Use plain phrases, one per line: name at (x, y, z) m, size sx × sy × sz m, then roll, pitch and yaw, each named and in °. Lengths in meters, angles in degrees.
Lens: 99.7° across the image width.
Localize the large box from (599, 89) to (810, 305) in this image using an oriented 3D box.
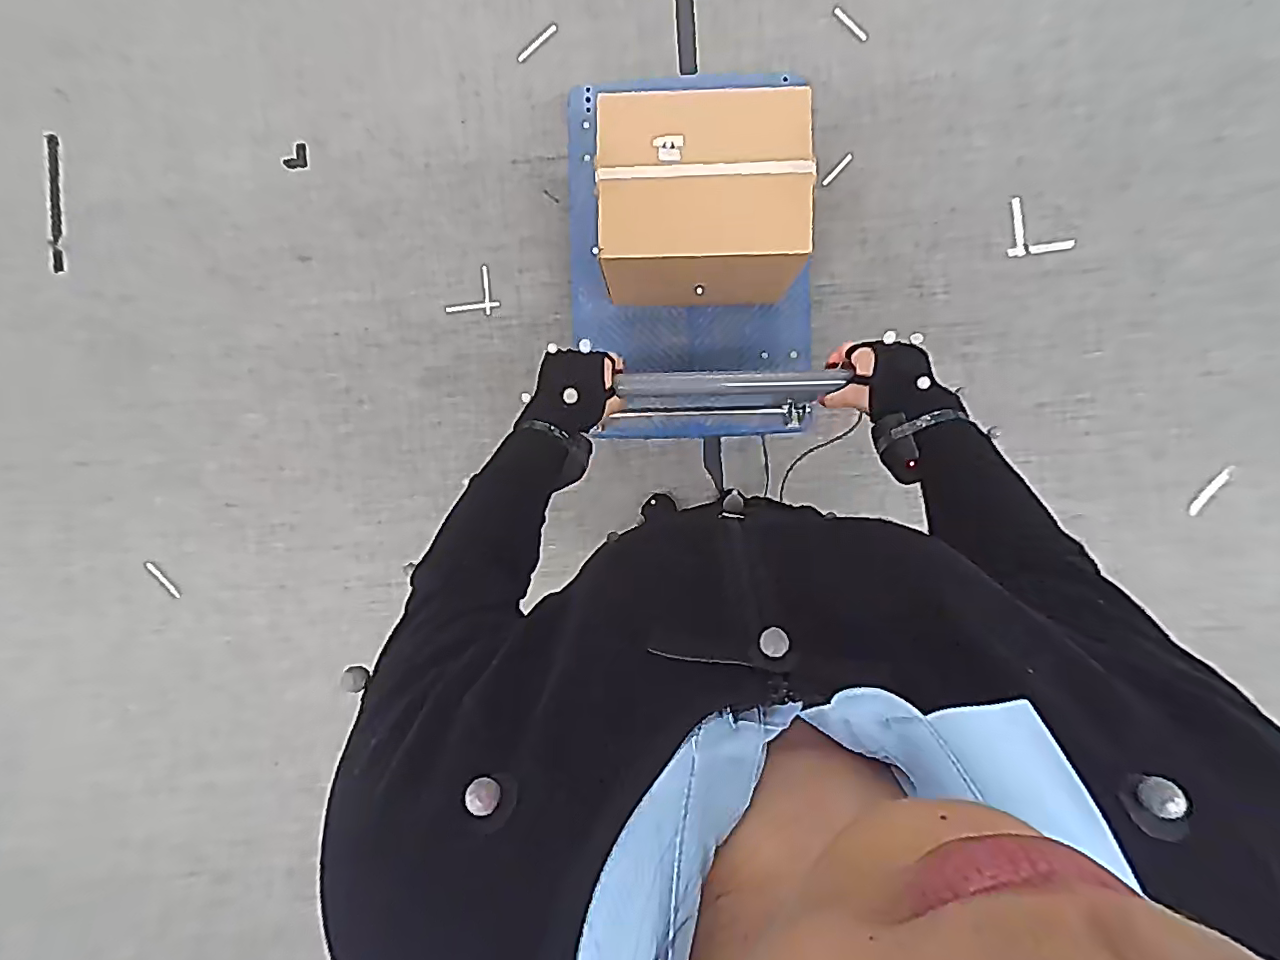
large box at (0.133, -0.588, 1.188) m, size 0.408 × 0.320 × 0.320 m, roll -1°, pitch 90°, yaw 4°
